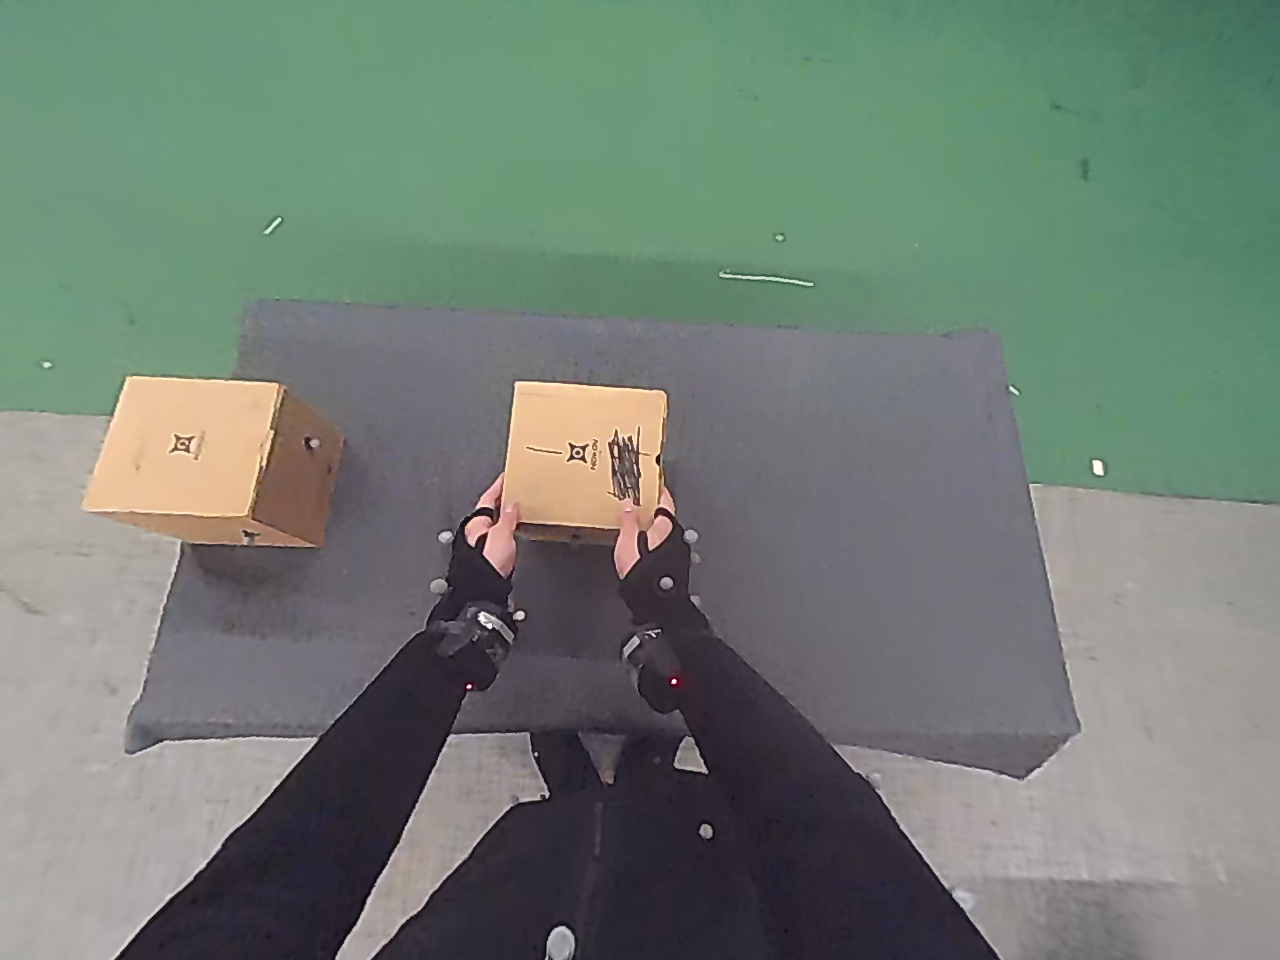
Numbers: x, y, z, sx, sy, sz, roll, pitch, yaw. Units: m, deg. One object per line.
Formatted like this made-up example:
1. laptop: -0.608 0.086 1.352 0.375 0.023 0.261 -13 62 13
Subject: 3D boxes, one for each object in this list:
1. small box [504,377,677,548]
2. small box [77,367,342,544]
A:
1. small box: -0.056 -0.010 0.671 0.179 0.176 0.168 6 76 -2
2. small box: -0.501 -0.020 0.665 0.179 0.176 0.168 2 70 -3
